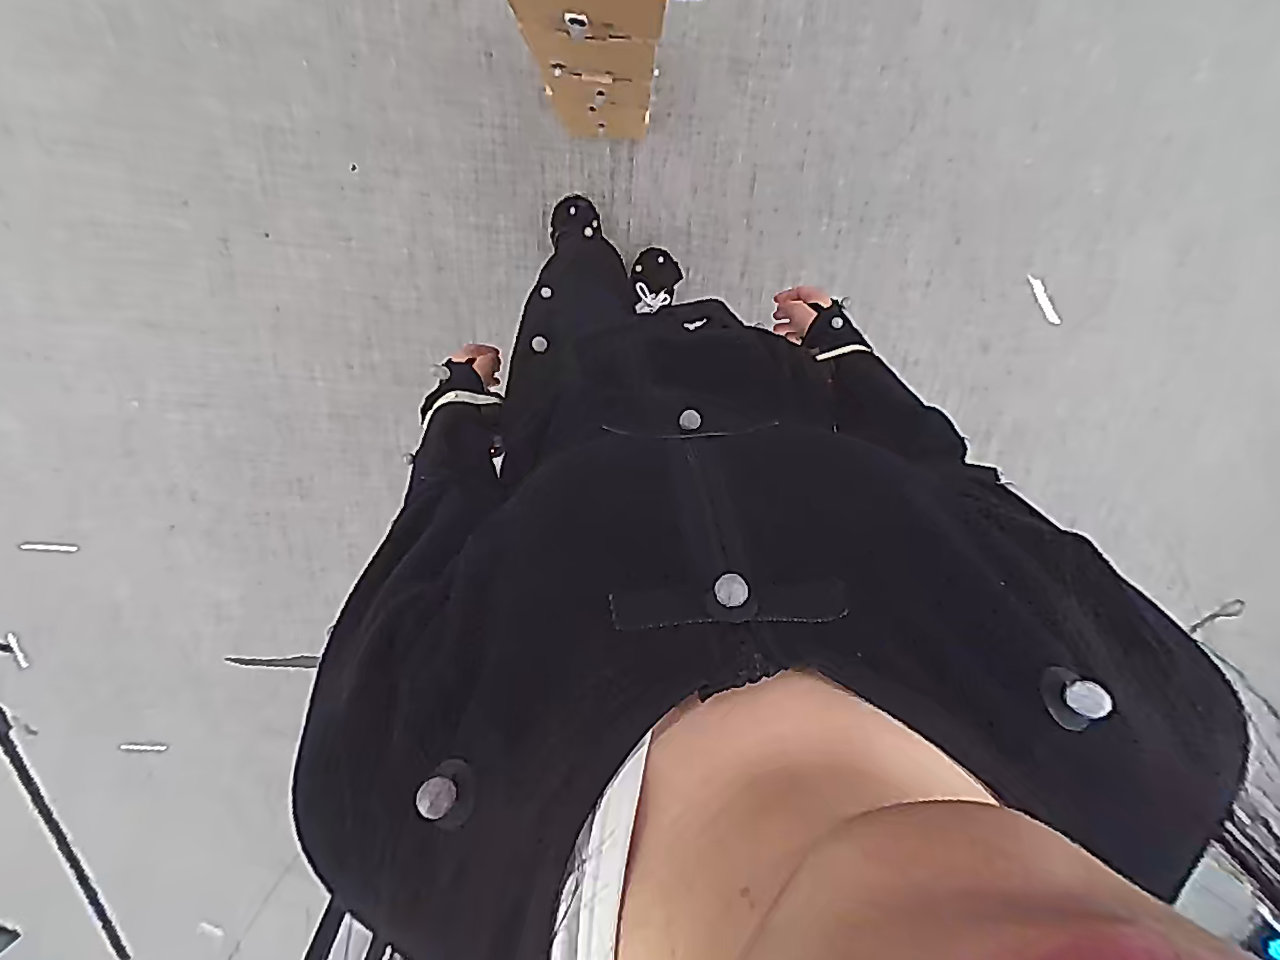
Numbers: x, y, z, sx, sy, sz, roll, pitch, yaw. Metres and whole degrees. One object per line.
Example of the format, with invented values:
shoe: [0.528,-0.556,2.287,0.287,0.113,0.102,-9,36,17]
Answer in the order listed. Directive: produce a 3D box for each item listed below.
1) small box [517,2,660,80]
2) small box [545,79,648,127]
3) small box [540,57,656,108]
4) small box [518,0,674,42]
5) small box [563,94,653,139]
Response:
small box: [-0.051,-0.619,0.660,0.168,0.176,0.179,4,113,-3]
small box: [-0.066,-0.746,0.961,0.179,0.176,0.168,6,114,-4]
small box: [-0.053,-0.683,0.811,0.168,0.176,0.179,5,114,-4]
small box: [-0.044,-0.554,0.511,0.168,0.176,0.179,3,115,-2]
small box: [-0.063,-0.814,1.111,0.179,0.176,0.168,3,114,-3]
